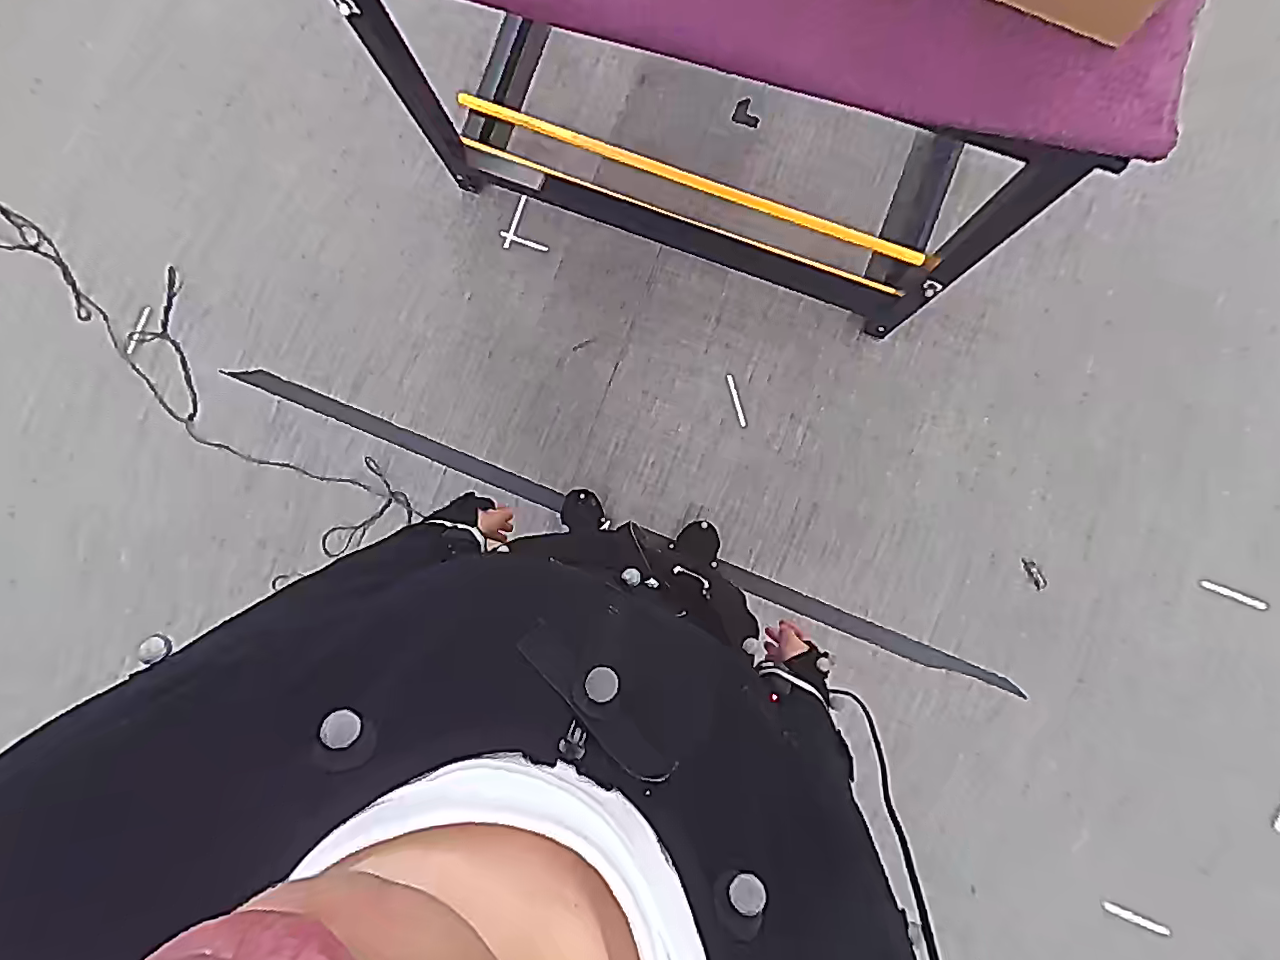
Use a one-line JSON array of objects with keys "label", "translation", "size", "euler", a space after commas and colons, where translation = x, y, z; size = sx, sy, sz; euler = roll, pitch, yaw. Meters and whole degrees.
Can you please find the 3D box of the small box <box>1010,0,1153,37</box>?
[{"label": "small box", "translation": [0.515, -0.625, 0.566], "size": [0.179, 0.176, 0.168], "euler": [26, 88, 4]}]
